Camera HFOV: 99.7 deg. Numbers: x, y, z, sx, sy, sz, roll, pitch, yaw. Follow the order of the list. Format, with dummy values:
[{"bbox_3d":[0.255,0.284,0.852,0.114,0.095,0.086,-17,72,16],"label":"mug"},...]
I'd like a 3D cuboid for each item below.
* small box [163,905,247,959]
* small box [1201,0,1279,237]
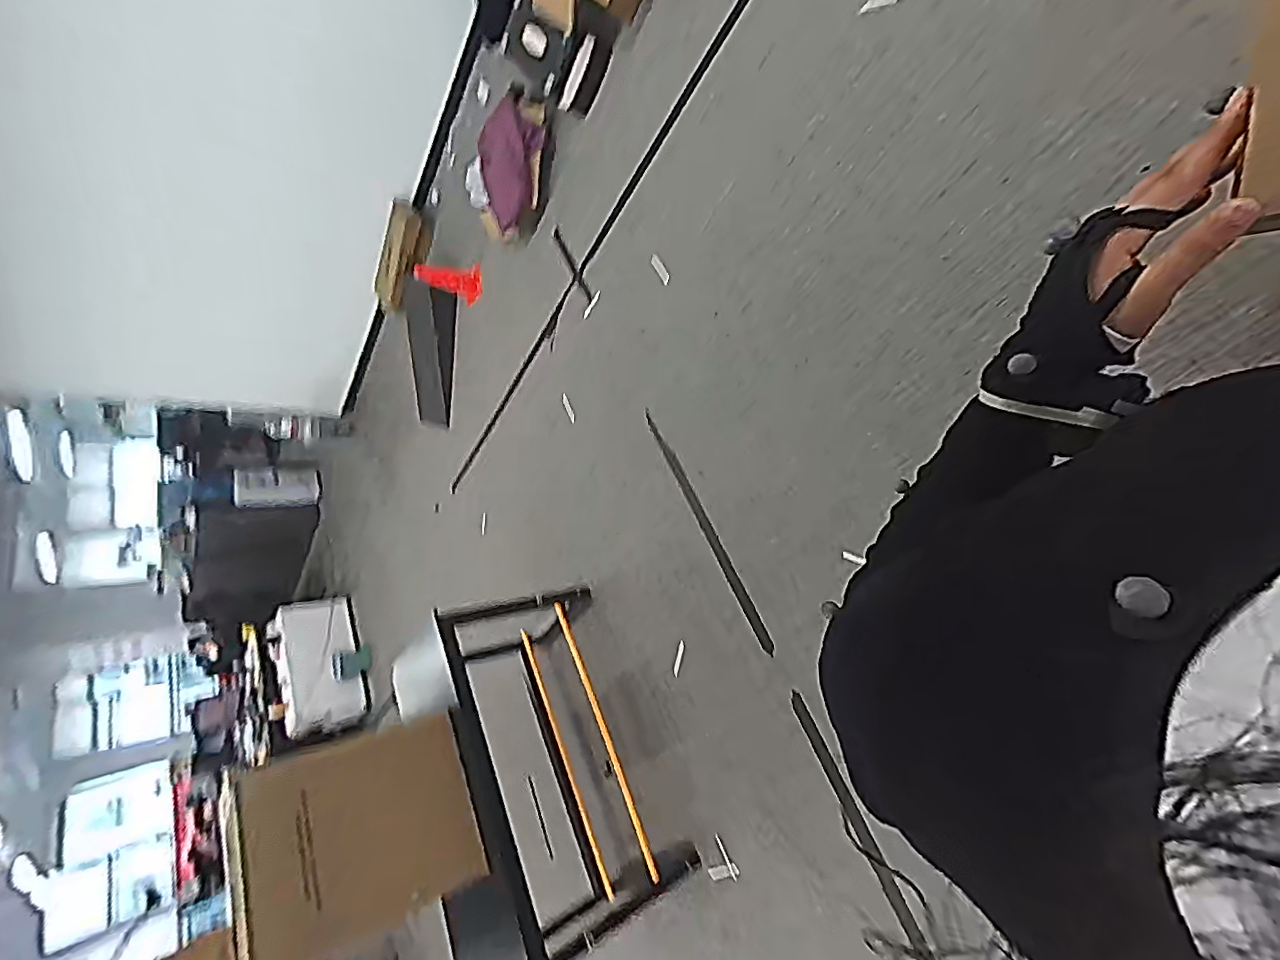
[{"bbox_3d":[-1.161,1.280,1.446,0.179,0.176,0.168,-50,57,37],"label":"small box"},{"bbox_3d":[0.408,-0.232,0.268,0.168,0.176,0.179,6,110,45],"label":"small box"}]
